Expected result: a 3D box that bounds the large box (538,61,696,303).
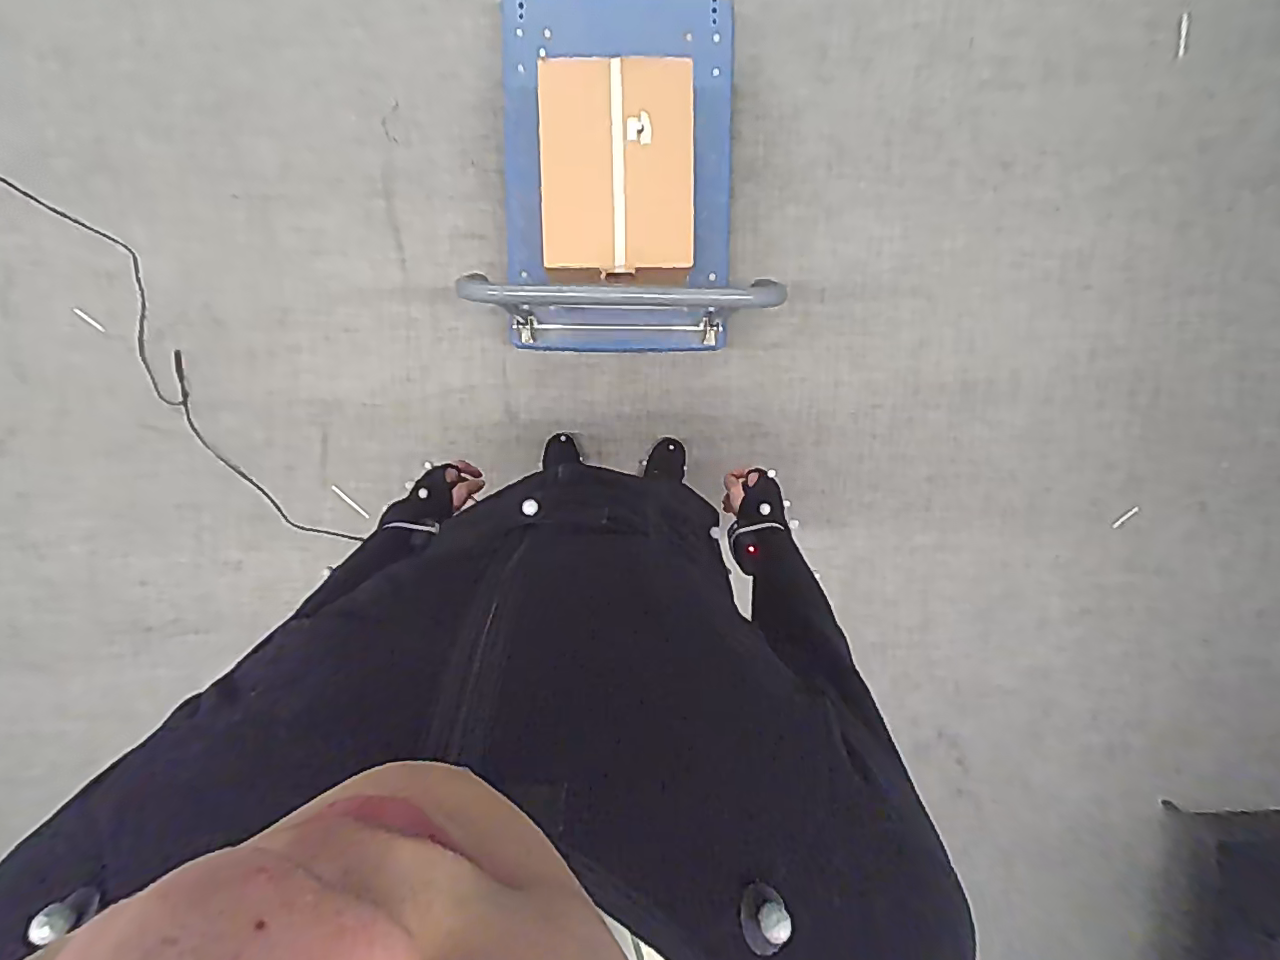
[{"bbox_3d":[-0.047,-0.648,1.244,0.320,0.320,0.408,-1,95,-2],"label":"large box"}]
